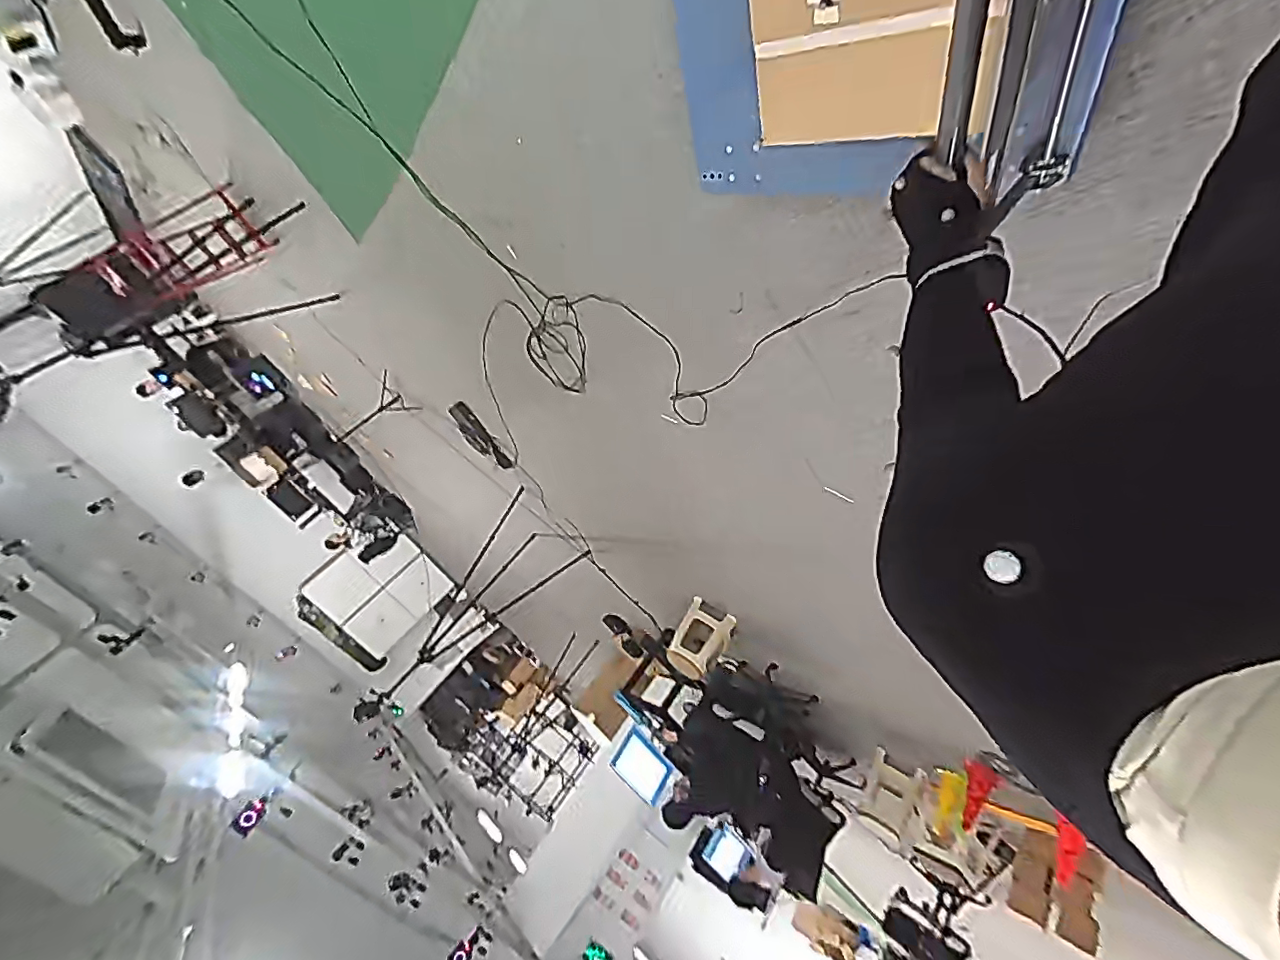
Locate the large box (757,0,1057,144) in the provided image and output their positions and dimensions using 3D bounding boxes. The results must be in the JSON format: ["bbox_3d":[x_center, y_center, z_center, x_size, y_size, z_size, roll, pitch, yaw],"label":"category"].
[{"bbox_3d":[0.457,-0.816,0.924,0.408,0.320,0.320,20,144,35],"label":"large box"}]
